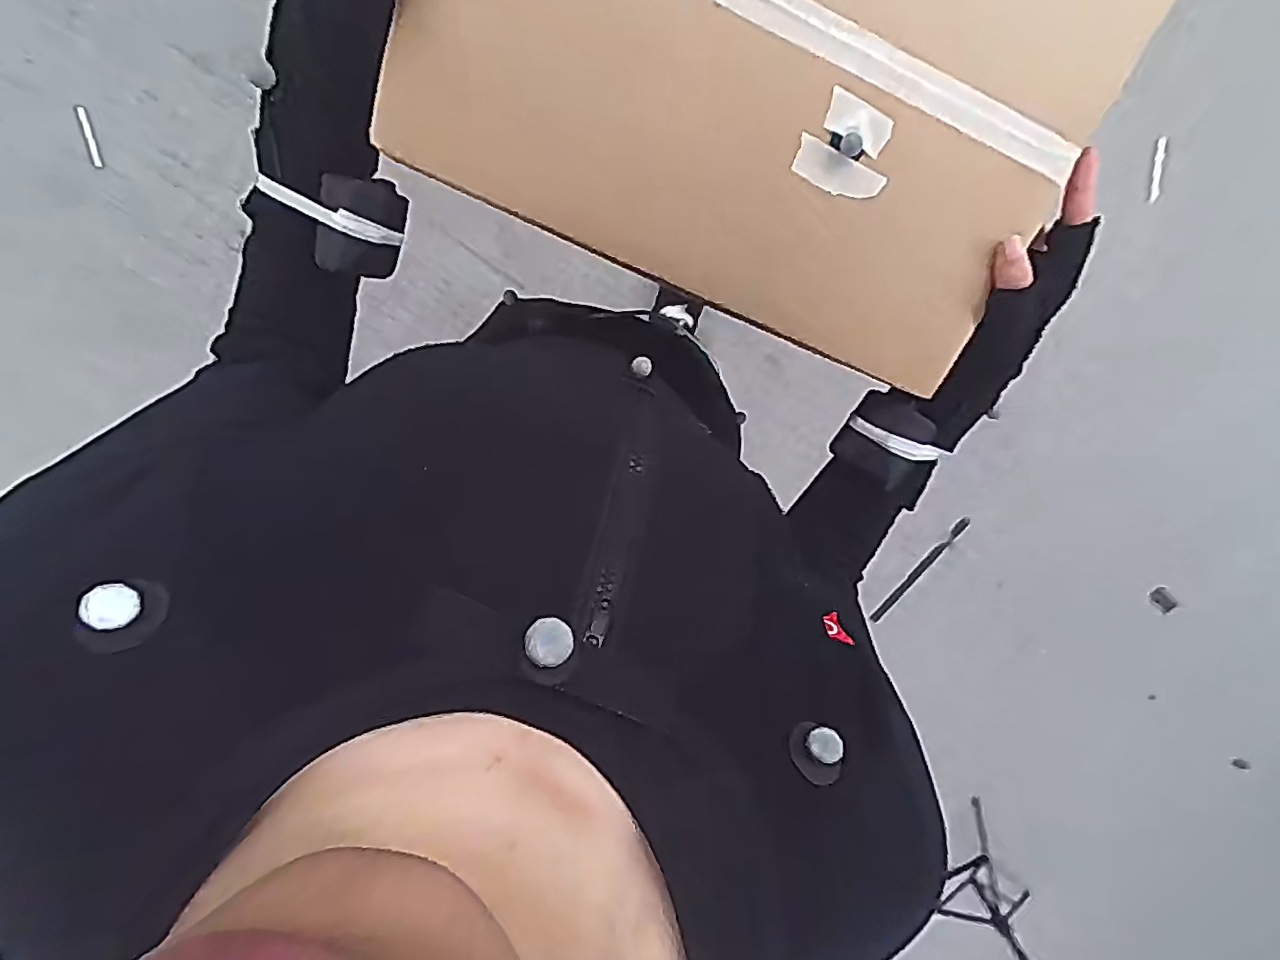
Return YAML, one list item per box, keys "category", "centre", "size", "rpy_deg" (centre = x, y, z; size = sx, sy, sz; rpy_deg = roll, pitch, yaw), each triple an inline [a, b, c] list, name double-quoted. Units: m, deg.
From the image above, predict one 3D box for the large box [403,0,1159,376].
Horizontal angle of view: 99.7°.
- category: "large box"
  centre: [0.084, -0.328, 0.459]
  size: [0.408, 0.320, 0.320]
  rpy_deg: [21, 110, -9]
